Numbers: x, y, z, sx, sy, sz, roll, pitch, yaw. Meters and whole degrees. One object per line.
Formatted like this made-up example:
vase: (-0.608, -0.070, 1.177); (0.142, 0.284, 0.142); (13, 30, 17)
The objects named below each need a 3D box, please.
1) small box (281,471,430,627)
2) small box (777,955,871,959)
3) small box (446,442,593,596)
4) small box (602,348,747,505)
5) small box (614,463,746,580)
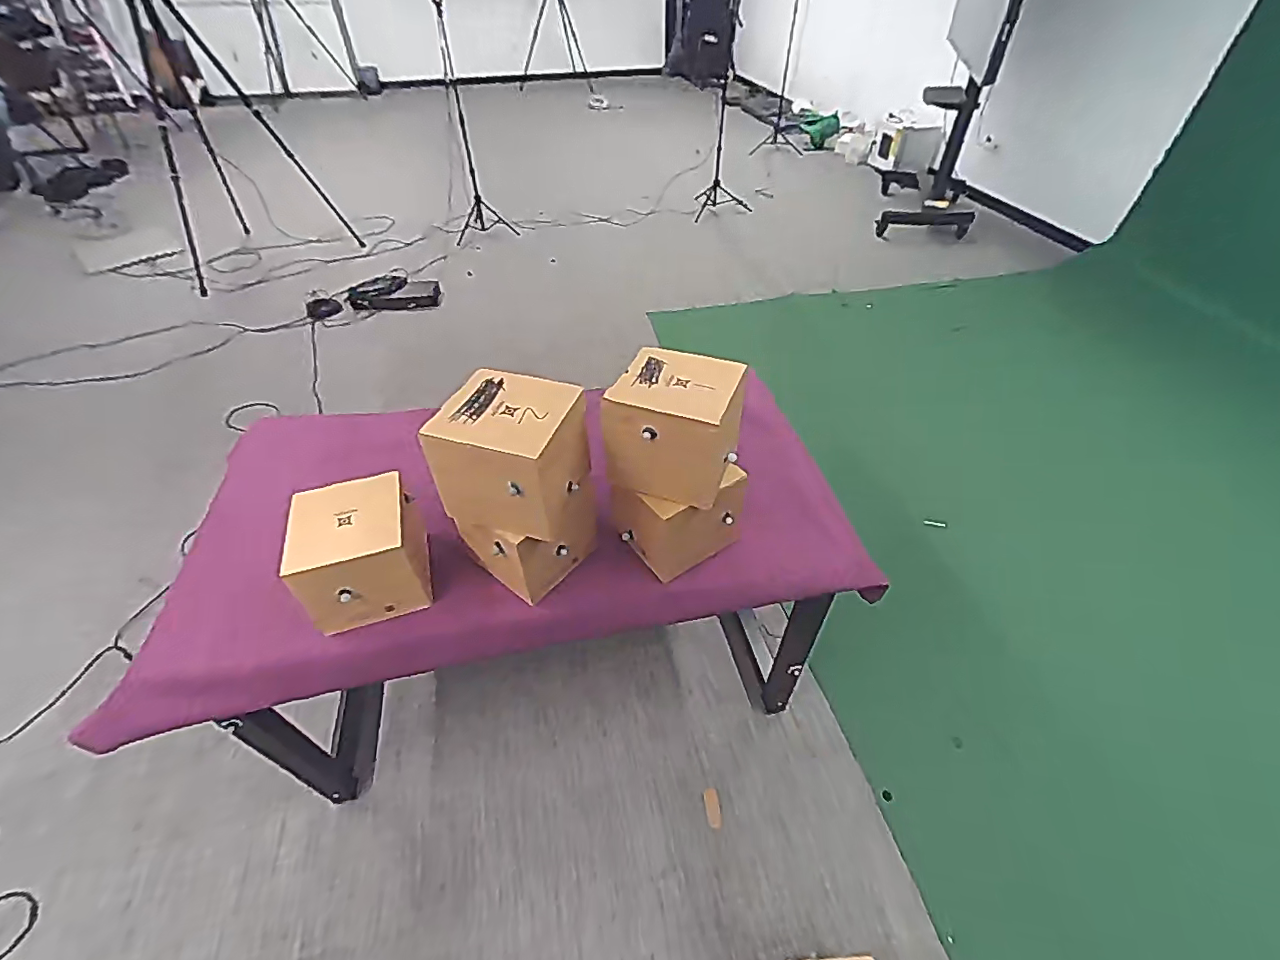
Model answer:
small box: (-0.452, 0.117, 0.884); (0.168, 0.176, 0.179); (-14, 45, -14)
small box: (0.351, 1.013, 1.017); (0.179, 0.176, 0.168); (-2, 45, -1)
small box: (-0.195, 0.071, 0.928); (0.179, 0.176, 0.168); (30, 51, 27)
small box: (0.055, -0.085, 0.855); (0.179, 0.176, 0.168); (15, 45, 16)
small box: (0.062, 0.041, 0.960); (0.179, 0.176, 0.168); (-26, 49, -23)
